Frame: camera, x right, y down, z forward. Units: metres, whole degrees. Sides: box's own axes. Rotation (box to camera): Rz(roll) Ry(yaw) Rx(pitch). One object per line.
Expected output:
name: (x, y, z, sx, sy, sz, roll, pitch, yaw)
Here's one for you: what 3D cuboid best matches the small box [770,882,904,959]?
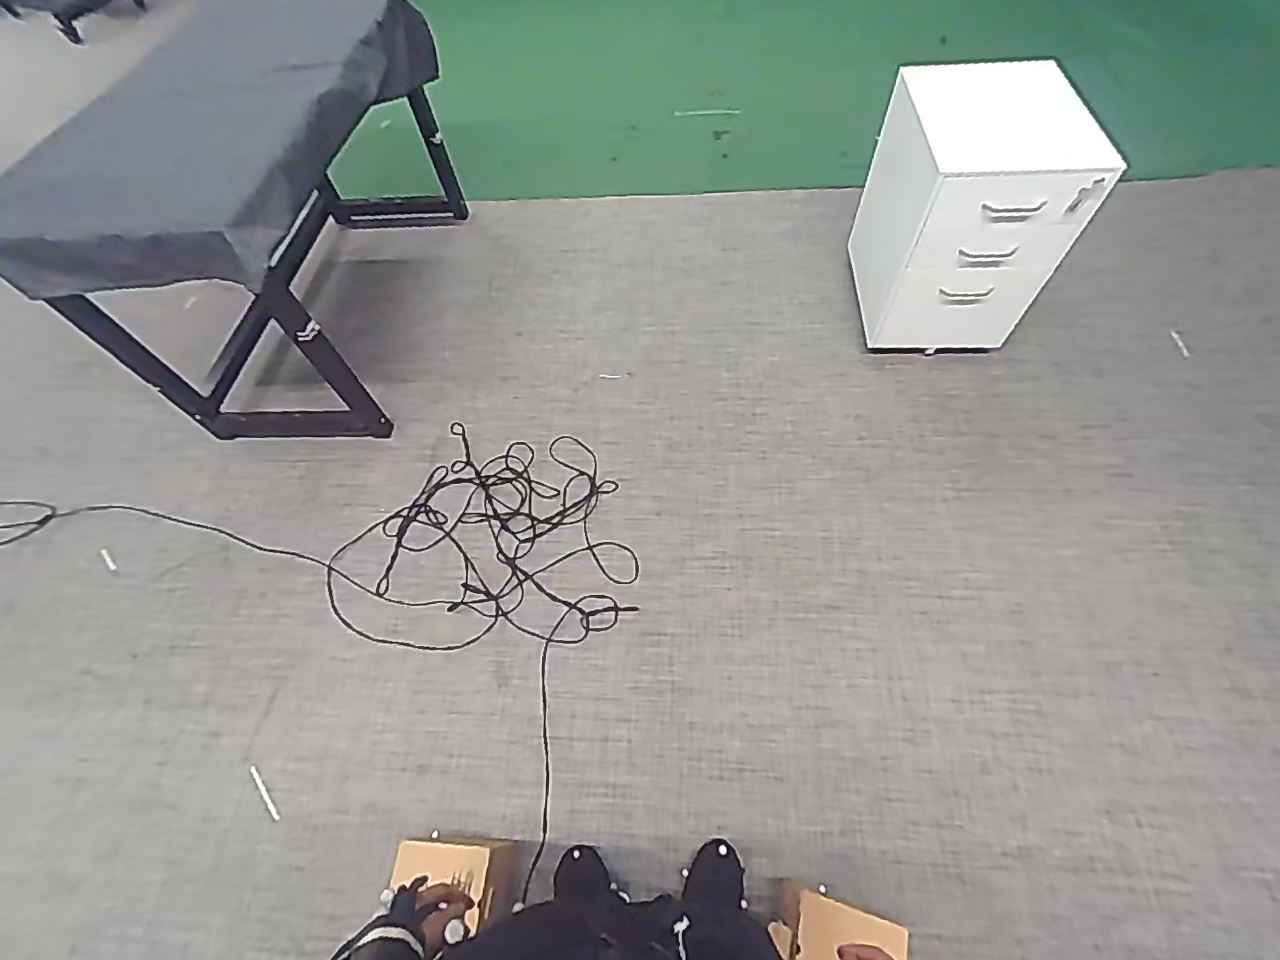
small box: (0.335, 0.828, 0.939, 0.179, 0.176, 0.168, 12, 61, 12)
